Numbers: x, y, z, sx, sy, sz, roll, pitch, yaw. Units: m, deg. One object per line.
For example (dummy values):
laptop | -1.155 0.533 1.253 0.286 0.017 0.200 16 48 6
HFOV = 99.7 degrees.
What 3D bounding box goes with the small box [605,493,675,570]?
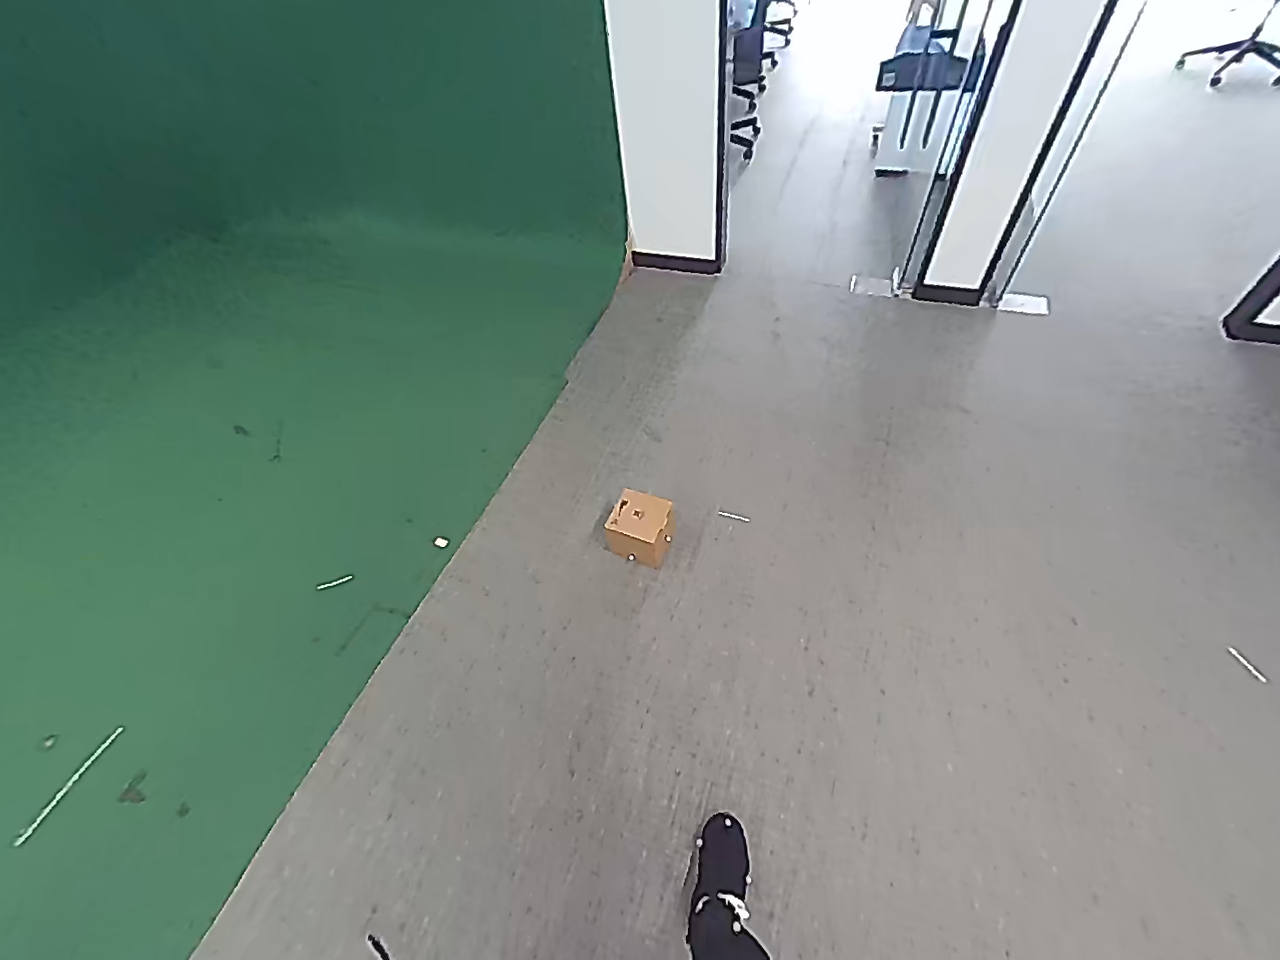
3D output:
small box | 0.008 0.175 1.781 0.179 0.176 0.168 17 56 19
